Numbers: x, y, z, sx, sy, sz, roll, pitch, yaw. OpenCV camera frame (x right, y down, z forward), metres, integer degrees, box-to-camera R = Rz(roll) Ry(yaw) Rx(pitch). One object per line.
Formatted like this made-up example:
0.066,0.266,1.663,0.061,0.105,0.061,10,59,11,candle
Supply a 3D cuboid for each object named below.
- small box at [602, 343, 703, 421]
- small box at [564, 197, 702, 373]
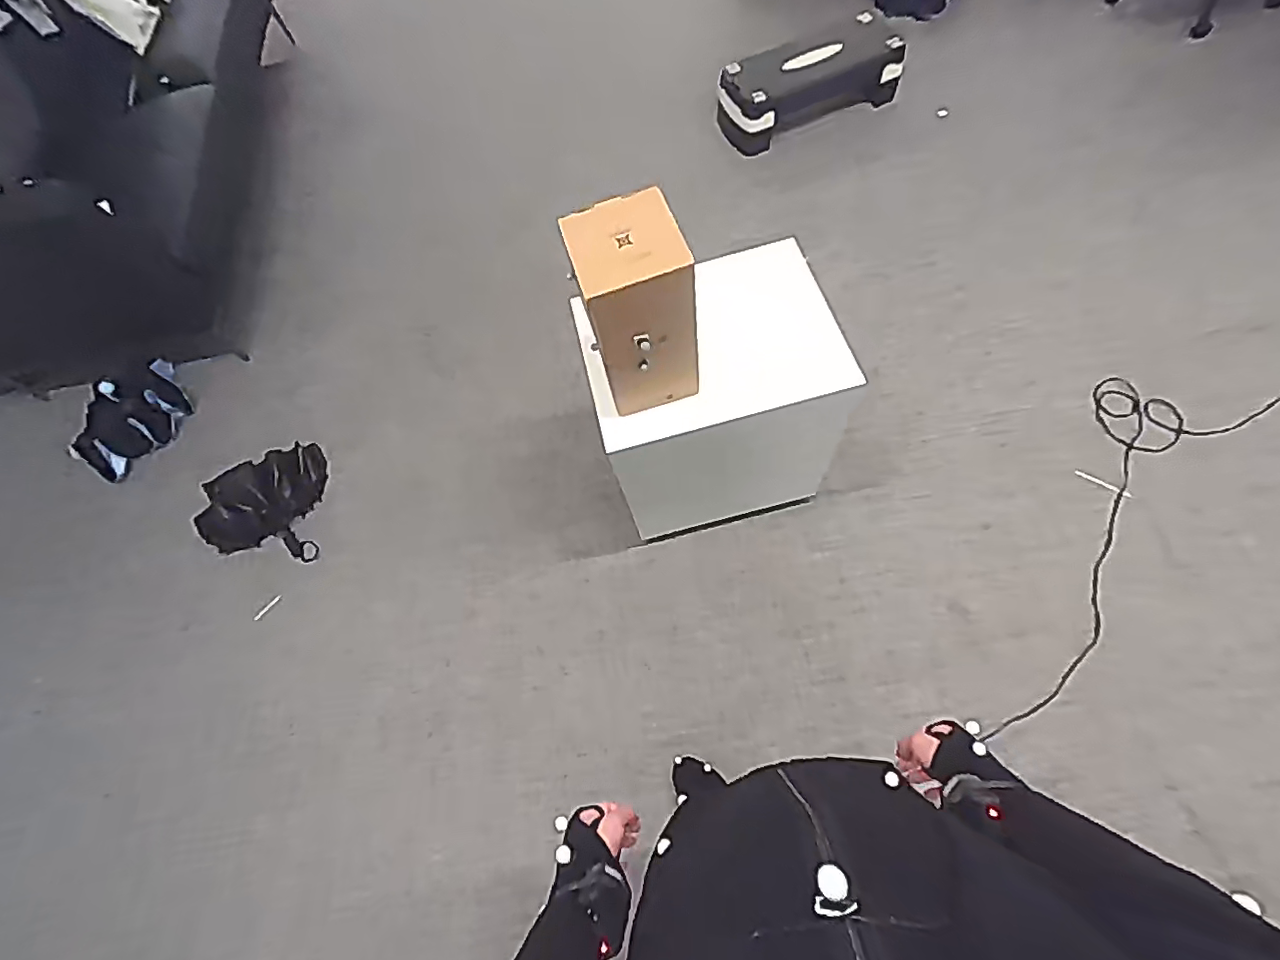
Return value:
0.015,-0.240,1.015,0.168,0.176,0.179,-17,64,0,small box
-0.006,-0.306,0.867,0.168,0.176,0.179,-19,65,0,small box
